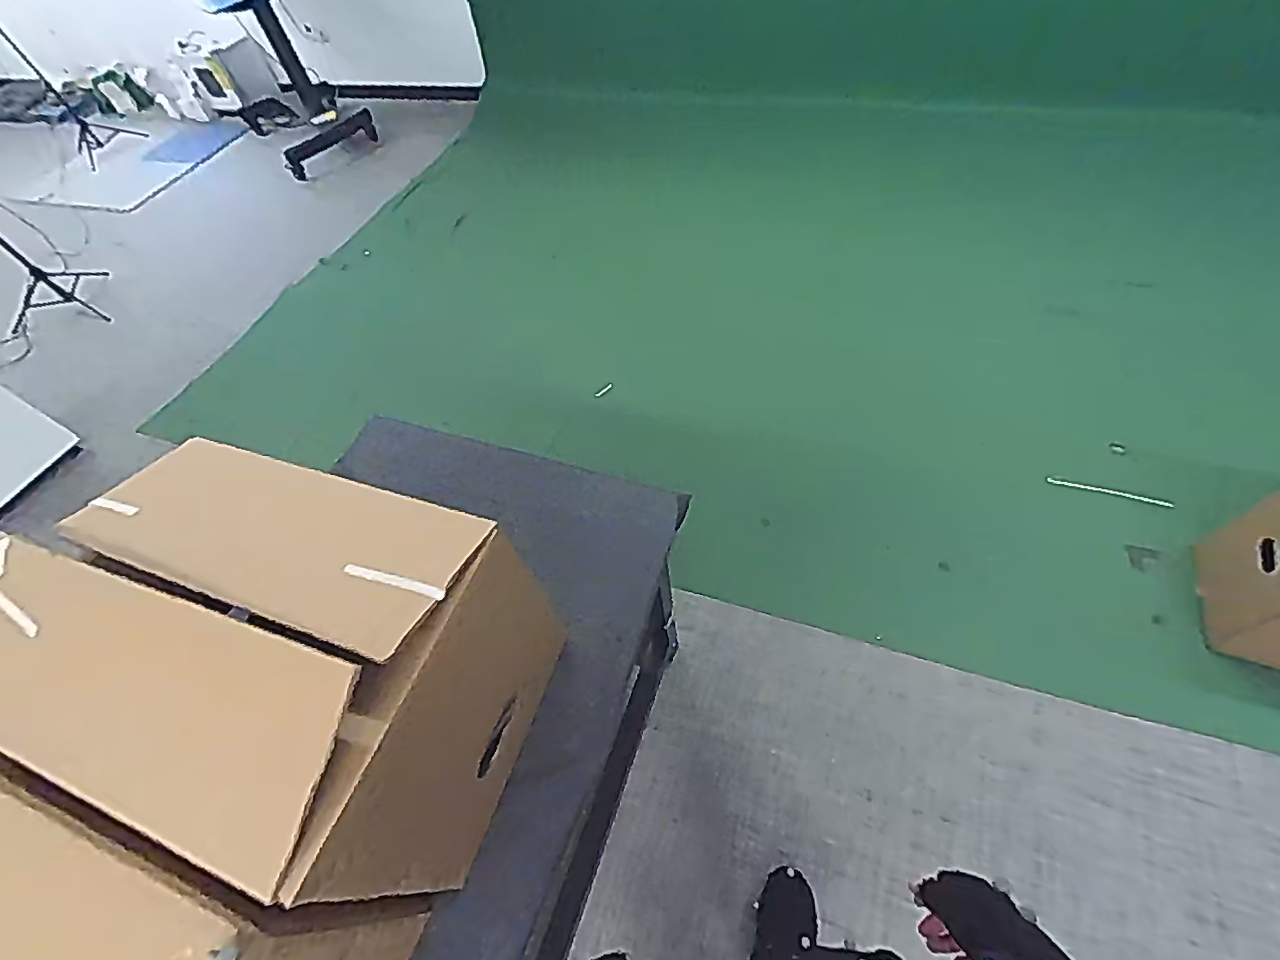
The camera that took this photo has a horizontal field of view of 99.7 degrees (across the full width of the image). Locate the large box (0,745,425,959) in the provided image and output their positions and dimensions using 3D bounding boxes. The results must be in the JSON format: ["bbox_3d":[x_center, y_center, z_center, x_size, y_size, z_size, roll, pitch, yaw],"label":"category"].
[{"bbox_3d":[-0.481,0.453,0.452,0.408,0.320,0.320,13,58,15],"label":"large box"}]
